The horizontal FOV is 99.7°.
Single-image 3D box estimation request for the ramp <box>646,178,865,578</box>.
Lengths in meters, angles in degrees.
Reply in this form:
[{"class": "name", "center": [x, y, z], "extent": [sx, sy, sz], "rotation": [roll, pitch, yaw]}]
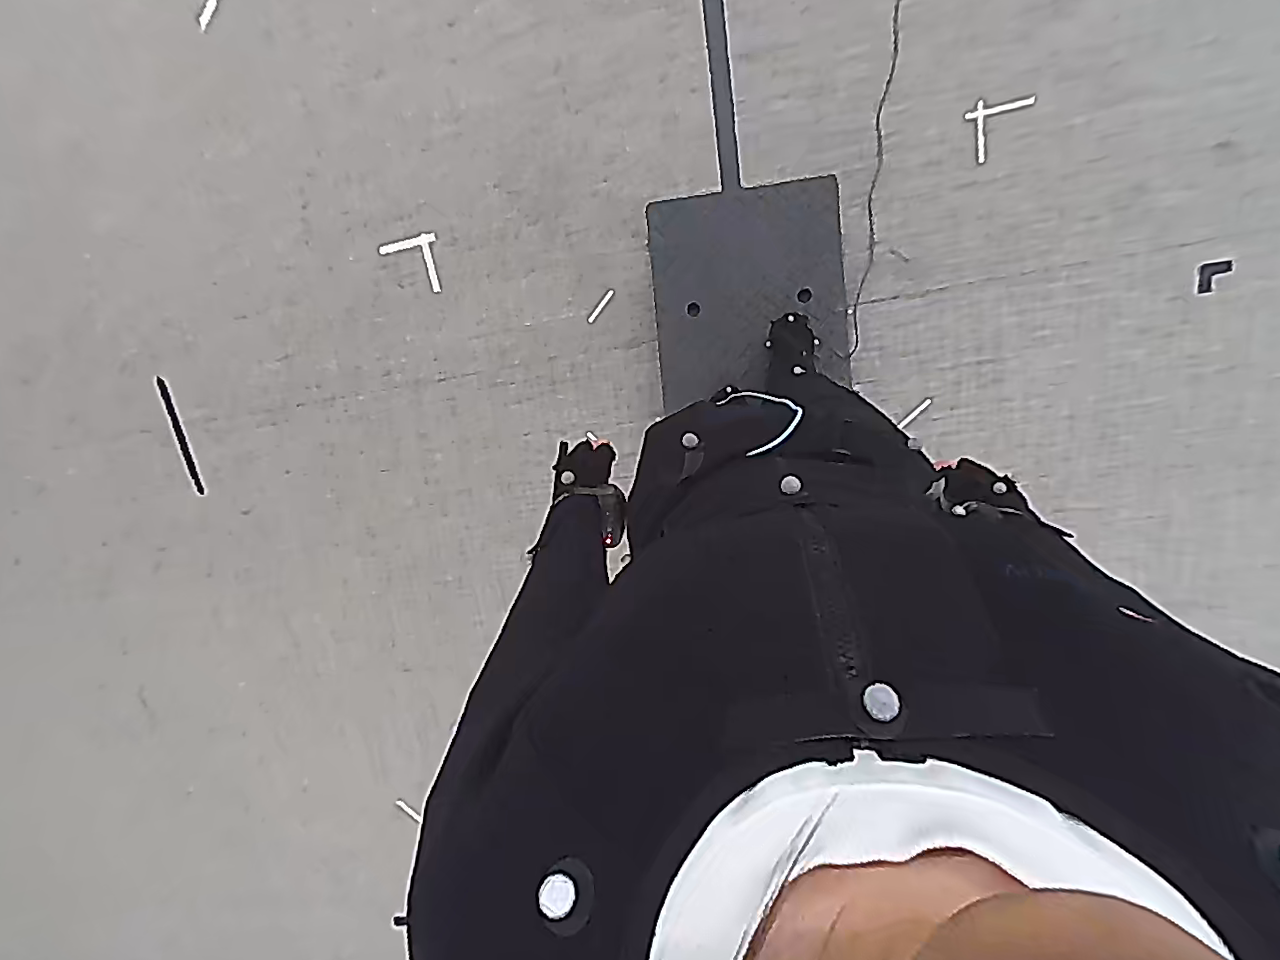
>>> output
[{"class": "ramp", "center": [0.298, -0.249, 1.425], "extent": [0.509, 0.206, 0.991], "rotation": [-6, 102, 10]}]
